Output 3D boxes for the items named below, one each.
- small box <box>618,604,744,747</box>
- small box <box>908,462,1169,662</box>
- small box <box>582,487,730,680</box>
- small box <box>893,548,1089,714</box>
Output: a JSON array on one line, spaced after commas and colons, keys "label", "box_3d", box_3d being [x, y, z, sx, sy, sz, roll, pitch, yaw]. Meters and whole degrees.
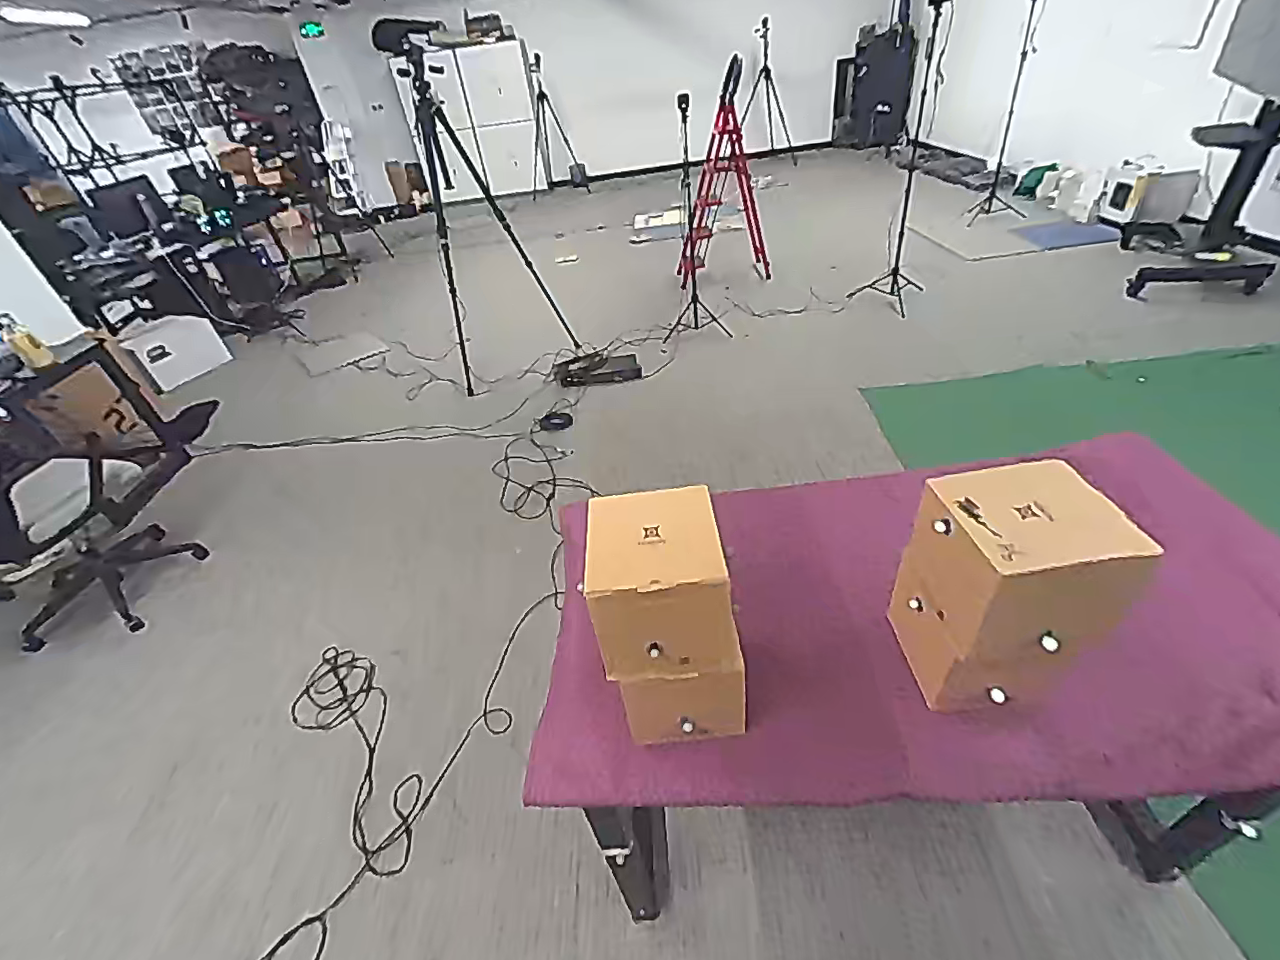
[{"label": "small box", "box_3d": [0.057, 0.264, 0.801, 0.168, 0.176, 0.179, -8, 36, 2]}, {"label": "small box", "box_3d": [0.461, 0.101, 0.664, 0.179, 0.176, 0.168, -8, 38, 2]}, {"label": "small box", "box_3d": [0.022, 0.133, 0.710, 0.168, 0.176, 0.179, -7, 36, 2]}, {"label": "small box", "box_3d": [0.489, 0.212, 0.785, 0.168, 0.176, 0.179, -6, 38, 4]}]
